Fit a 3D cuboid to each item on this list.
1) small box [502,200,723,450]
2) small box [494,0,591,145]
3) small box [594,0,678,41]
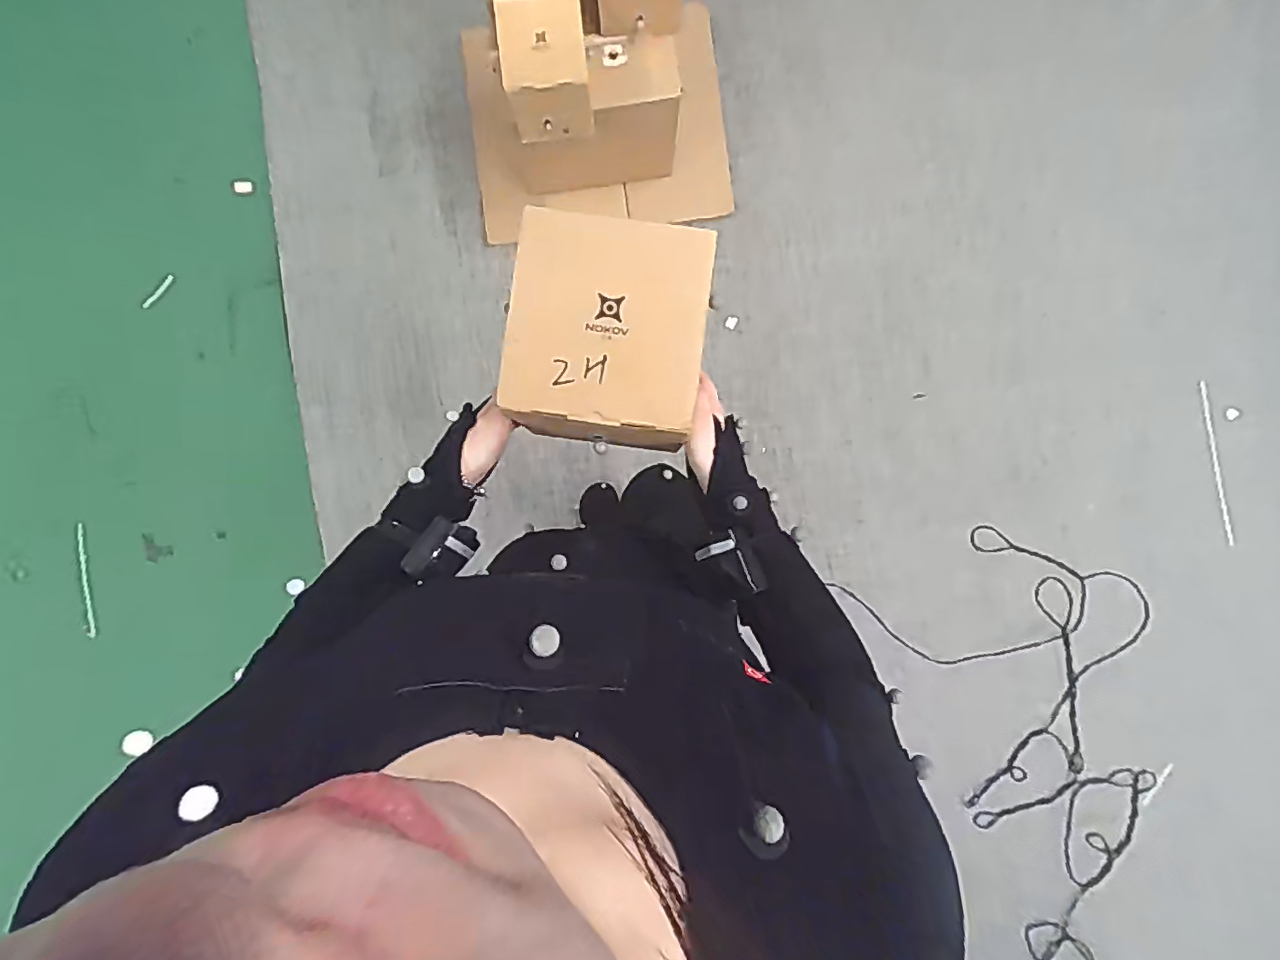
[{"bbox_3d":[-0.023,-0.133,0.527,0.168,0.176,0.179,8,87,0],"label":"small box"},{"bbox_3d":[-0.194,-0.832,1.113,0.168,0.176,0.179,-7,91,-1],"label":"small box"},{"bbox_3d":[-0.011,-1.055,1.116,0.179,0.176,0.168,-4,90,1],"label":"small box"}]
